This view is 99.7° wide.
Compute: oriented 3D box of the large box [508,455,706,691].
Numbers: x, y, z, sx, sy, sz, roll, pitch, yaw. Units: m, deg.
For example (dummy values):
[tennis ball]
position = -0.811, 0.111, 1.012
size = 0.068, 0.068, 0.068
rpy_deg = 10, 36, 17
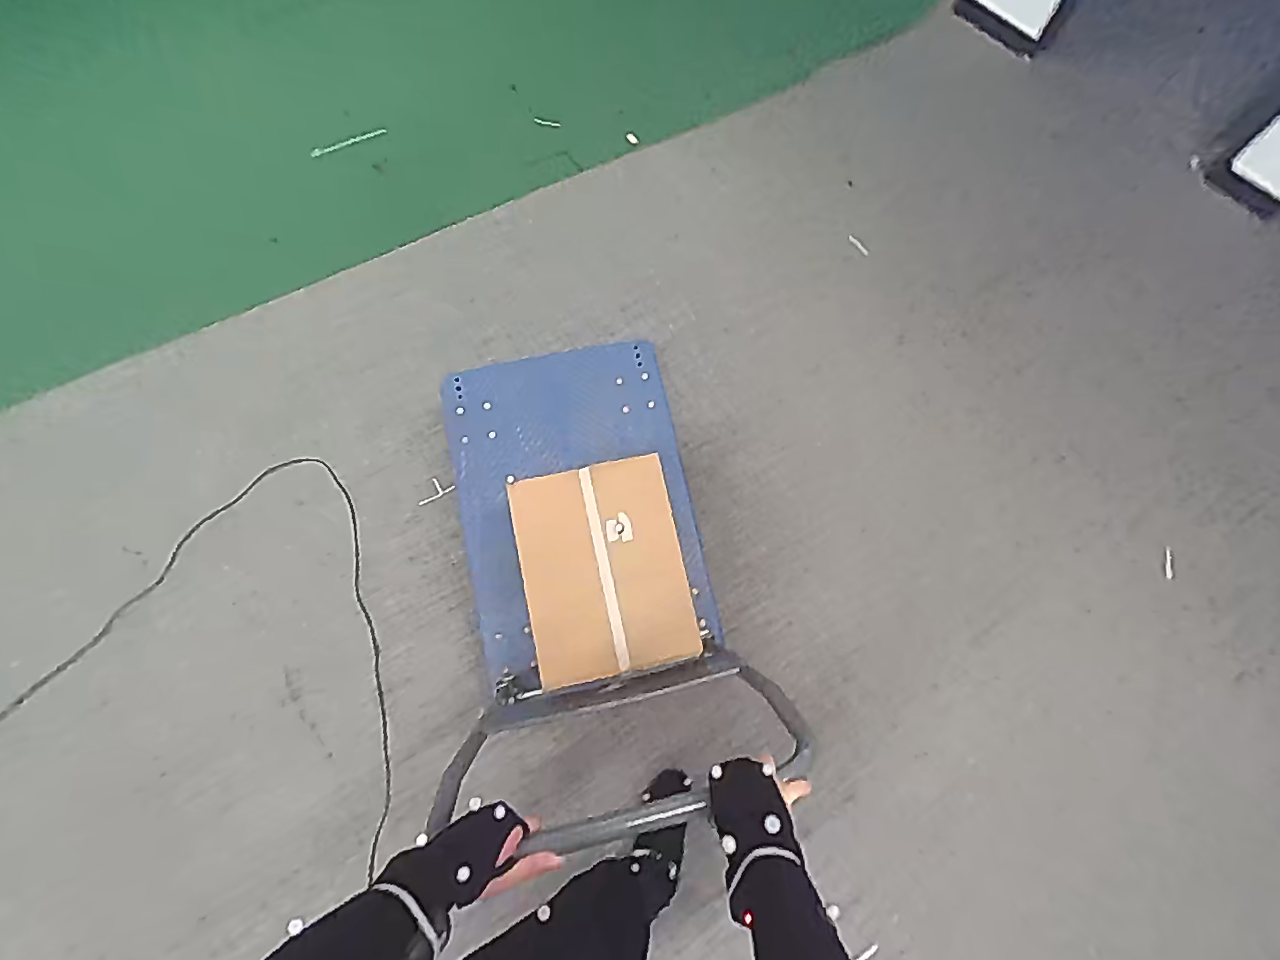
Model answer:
[large box]
position = -0.075, 0.200, 1.188
size = 0.320, 0.320, 0.408
rpy_deg = -12, 79, -7
